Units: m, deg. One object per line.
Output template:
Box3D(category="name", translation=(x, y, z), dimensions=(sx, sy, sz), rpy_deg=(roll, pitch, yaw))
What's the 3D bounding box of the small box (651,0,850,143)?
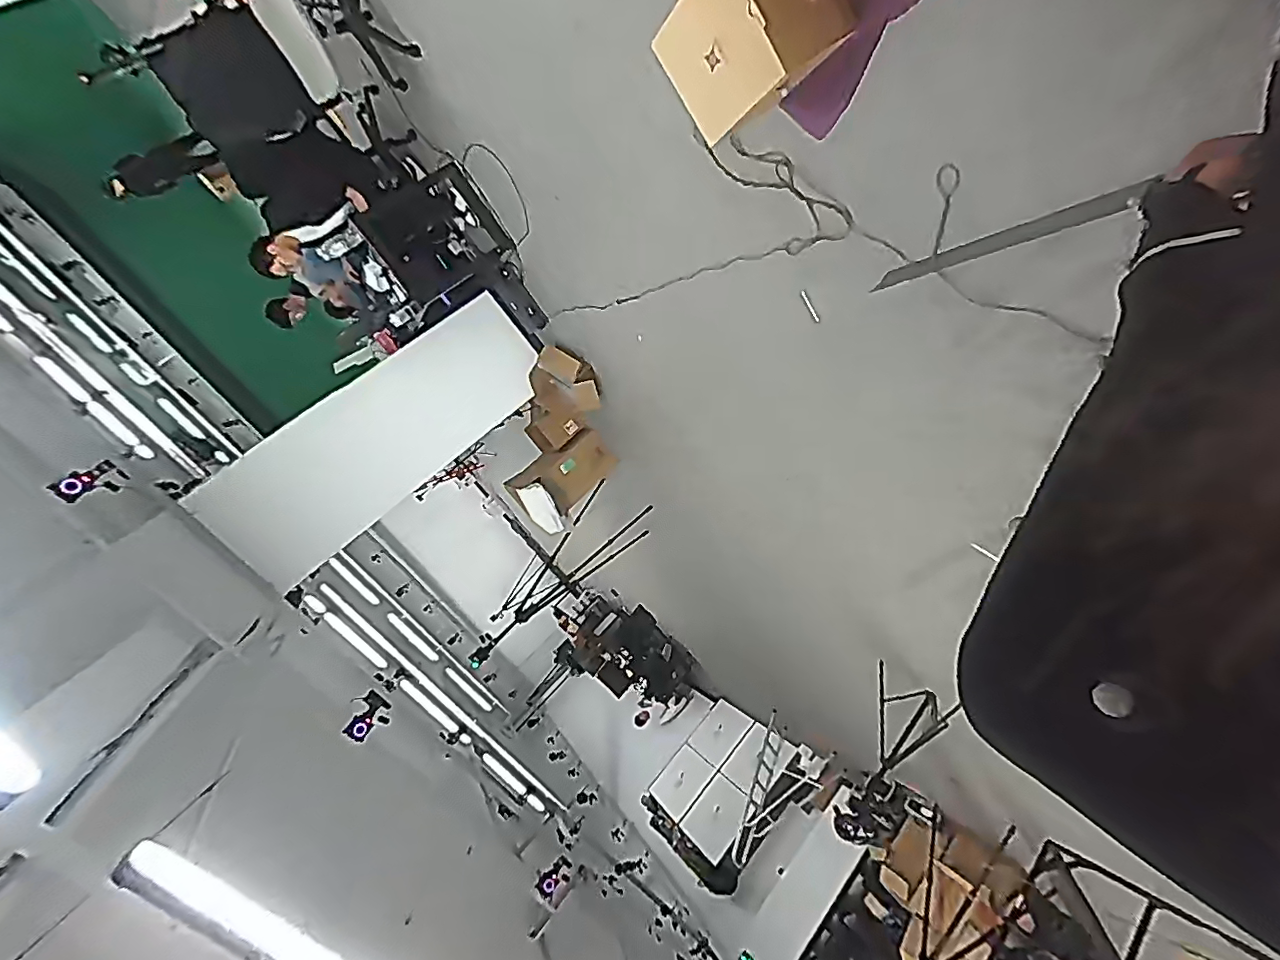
Box3D(category="small box", translation=(0.155, -0.630, 0.762), dimensions=(0.168, 0.176, 0.179), rpy_deg=(52, 158, -17))
